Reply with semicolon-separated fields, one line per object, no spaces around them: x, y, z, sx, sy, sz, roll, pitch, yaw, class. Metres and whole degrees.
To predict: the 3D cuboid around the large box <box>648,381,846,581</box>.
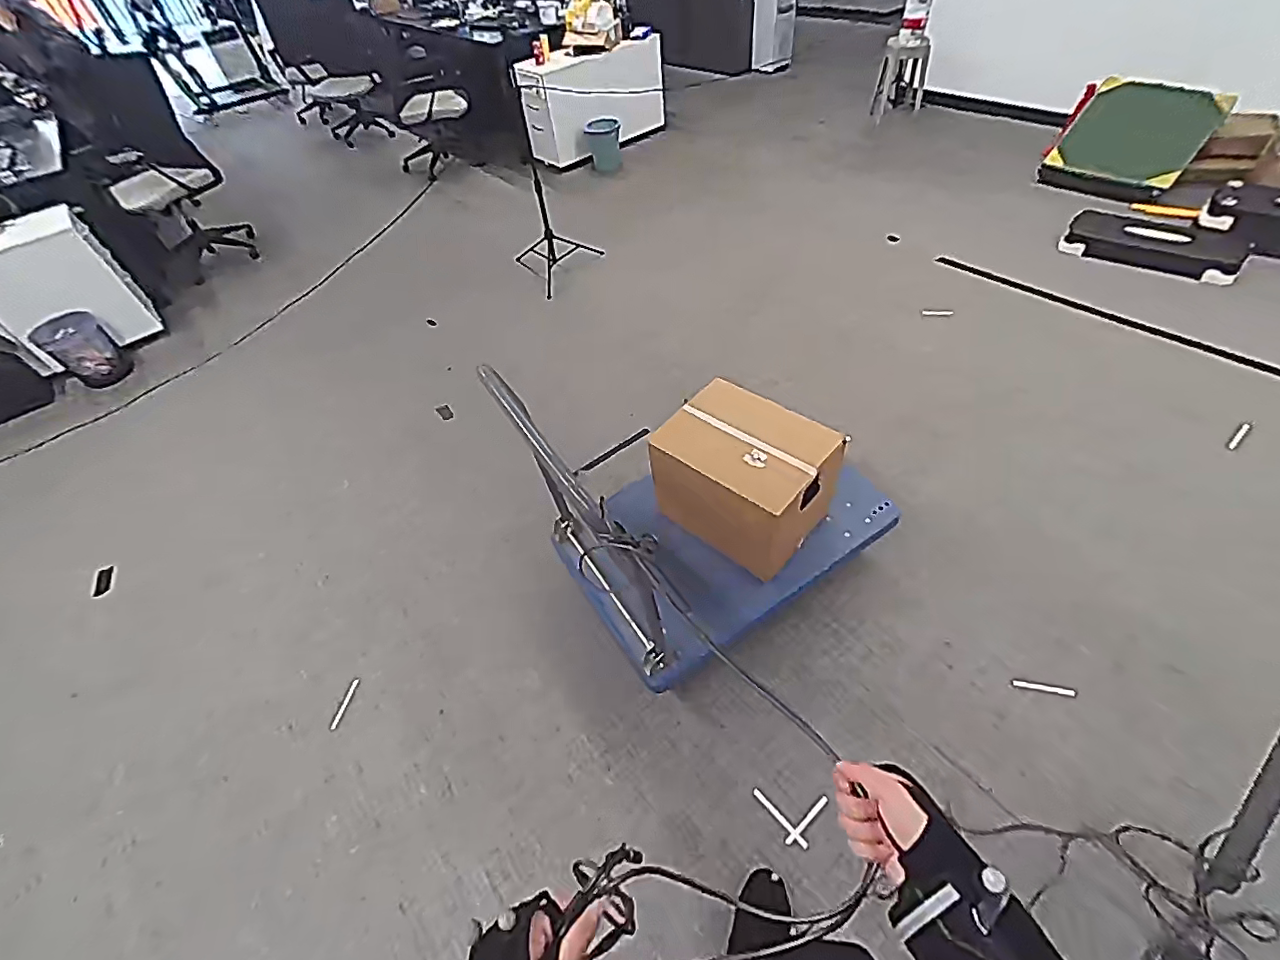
0.275;-0.004;1.476;0.408;0.320;0.320;32;62;29;large box
